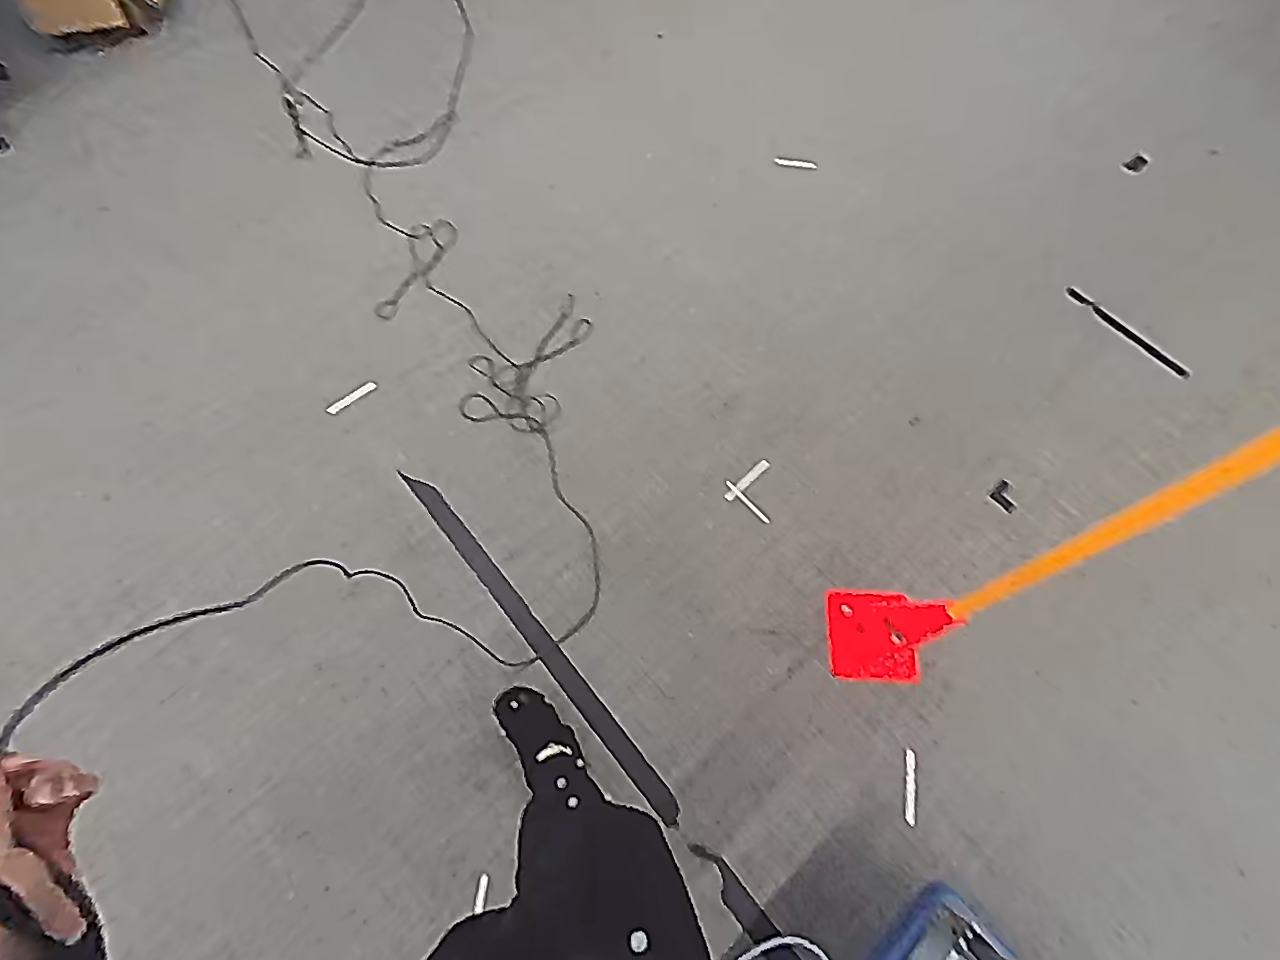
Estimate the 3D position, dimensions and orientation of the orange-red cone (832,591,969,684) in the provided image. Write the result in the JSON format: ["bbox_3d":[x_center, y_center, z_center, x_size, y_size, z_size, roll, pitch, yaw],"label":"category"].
[{"bbox_3d":[0.541,0.296,1.079,0.198,0.360,0.199,4,69,1],"label":"orange-red cone"}]
